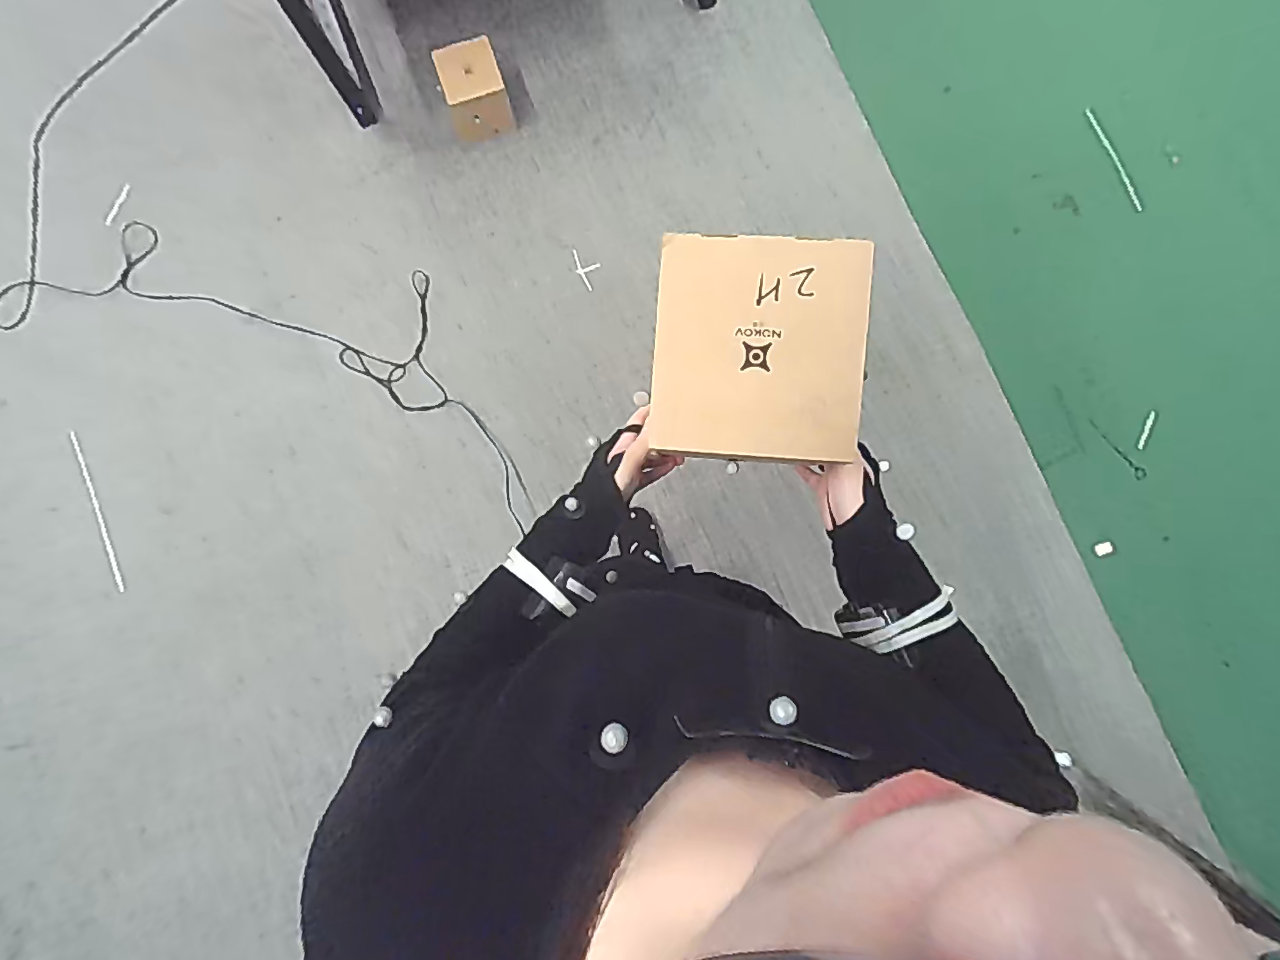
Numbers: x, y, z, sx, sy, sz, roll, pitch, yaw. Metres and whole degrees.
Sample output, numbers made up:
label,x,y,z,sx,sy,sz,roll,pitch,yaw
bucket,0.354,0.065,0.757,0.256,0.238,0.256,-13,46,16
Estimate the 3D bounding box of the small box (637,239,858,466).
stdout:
label,x,y,z,sx,sy,sz,roll,pitch,yaw
small box,0.093,-0.108,0.520,0.168,0.176,0.179,5,92,5
